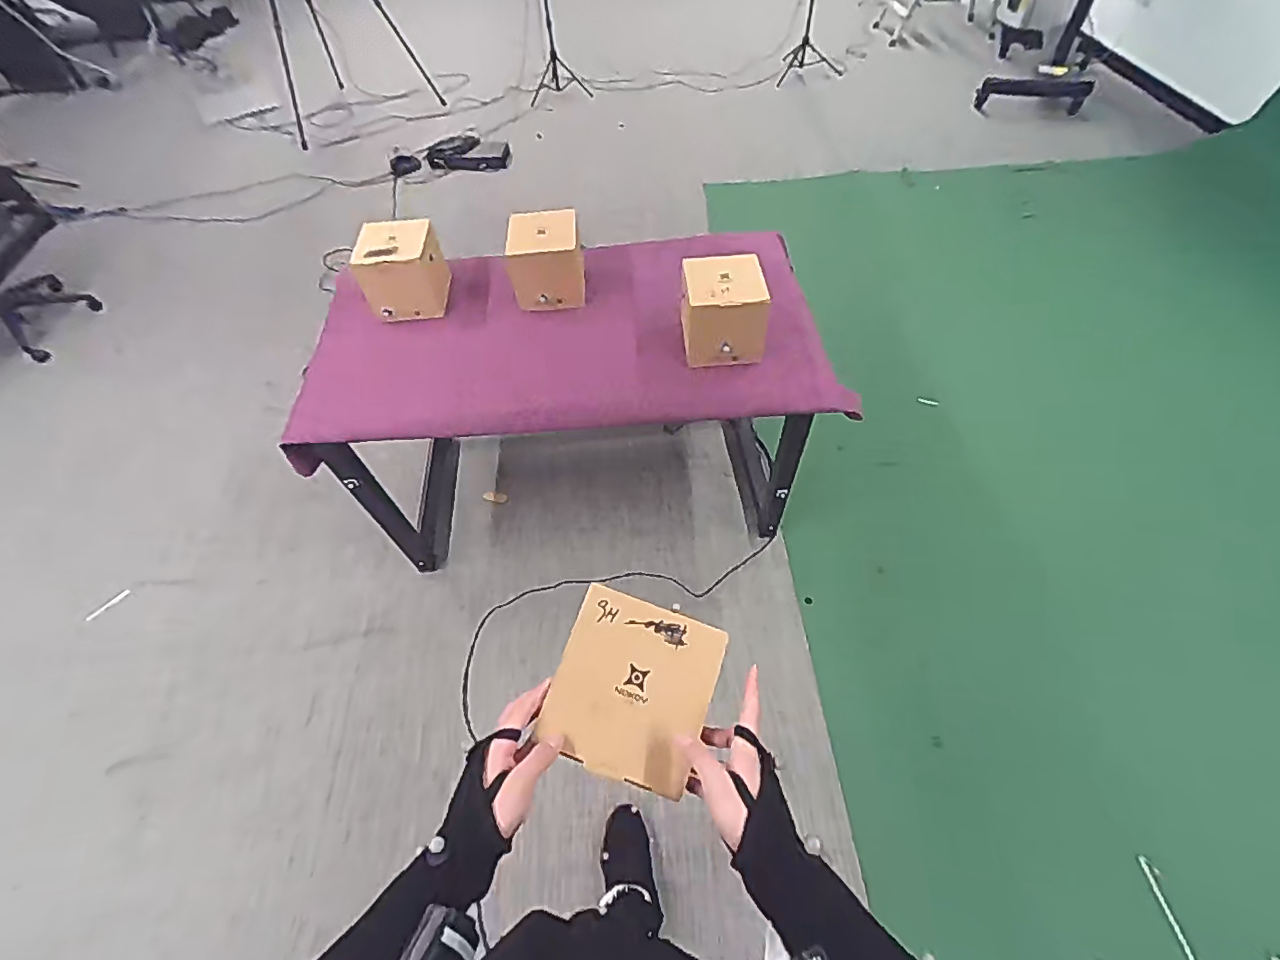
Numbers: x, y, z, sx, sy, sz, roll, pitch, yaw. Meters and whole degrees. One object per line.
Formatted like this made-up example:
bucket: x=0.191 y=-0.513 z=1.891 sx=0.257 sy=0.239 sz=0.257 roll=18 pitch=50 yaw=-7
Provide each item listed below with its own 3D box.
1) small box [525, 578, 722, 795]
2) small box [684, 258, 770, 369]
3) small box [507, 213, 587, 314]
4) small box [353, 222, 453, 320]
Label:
small box: x=-0.015 y=0.238 z=0.648 sx=0.168 sy=0.176 sz=0.179 roll=19 pitch=71 yaw=5
small box: x=0.186 y=-0.372 z=1.215 sx=0.168 sy=0.176 sz=0.179 roll=-4 pitch=54 yaw=2
small box: x=-0.227 y=-0.542 z=1.361 sx=0.168 sy=0.176 sz=0.179 roll=-4 pitch=55 yaw=1
small box: x=-0.585 y=-0.518 z=1.360 sx=0.168 sy=0.176 sz=0.179 roll=-5 pitch=55 yaw=-1
